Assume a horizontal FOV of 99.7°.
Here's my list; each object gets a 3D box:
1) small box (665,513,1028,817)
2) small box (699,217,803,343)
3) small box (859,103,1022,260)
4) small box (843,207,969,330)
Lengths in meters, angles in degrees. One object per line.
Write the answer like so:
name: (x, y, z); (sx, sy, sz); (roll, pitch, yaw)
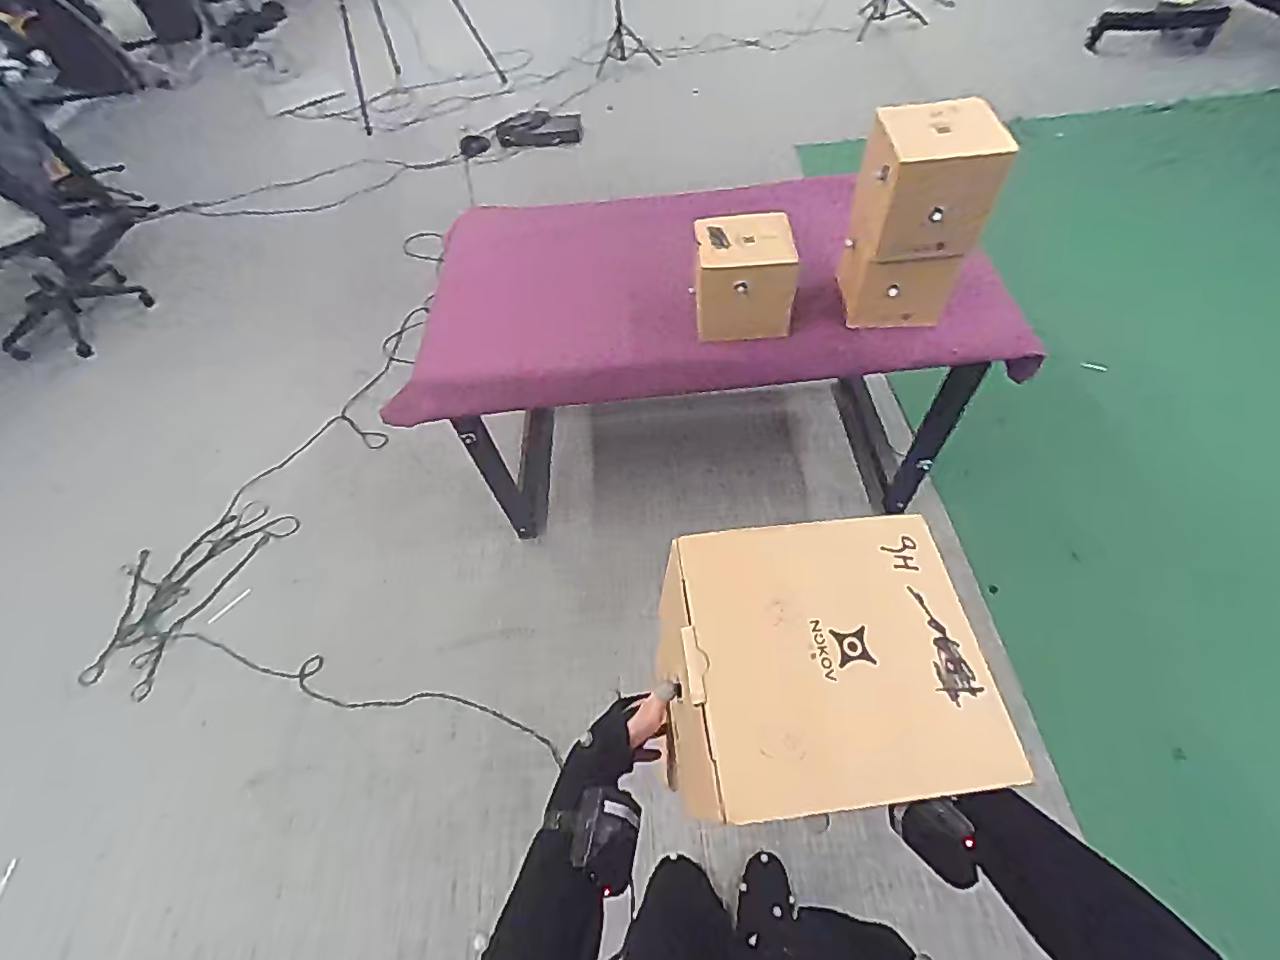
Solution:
small box: (0.114, 0.140, 0.392); (0.179, 0.176, 0.168); (-5, 59, -5)
small box: (0.206, -0.384, 1.053); (0.179, 0.176, 0.168); (-2, 55, 4)
small box: (0.477, -0.481, 0.889); (0.168, 0.176, 0.179); (-2, 56, 6)
small box: (0.496, -0.402, 1.034); (0.168, 0.176, 0.179); (1, 56, 8)
